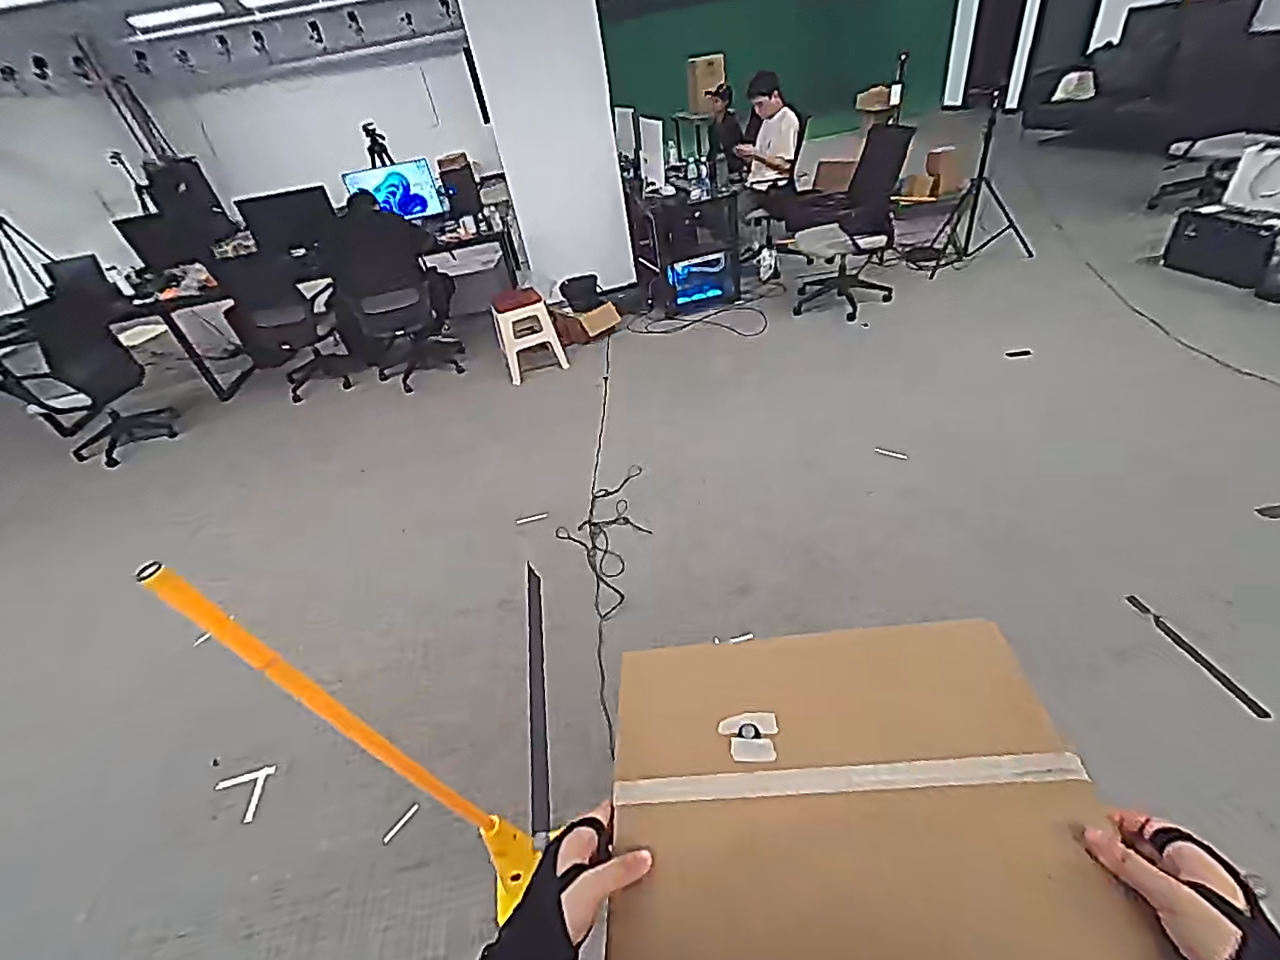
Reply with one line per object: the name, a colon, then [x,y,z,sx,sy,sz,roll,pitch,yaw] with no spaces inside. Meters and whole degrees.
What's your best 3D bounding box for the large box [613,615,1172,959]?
large box: [0.210,0.389,0.593,0.408,0.320,0.320,-10,37,10]
